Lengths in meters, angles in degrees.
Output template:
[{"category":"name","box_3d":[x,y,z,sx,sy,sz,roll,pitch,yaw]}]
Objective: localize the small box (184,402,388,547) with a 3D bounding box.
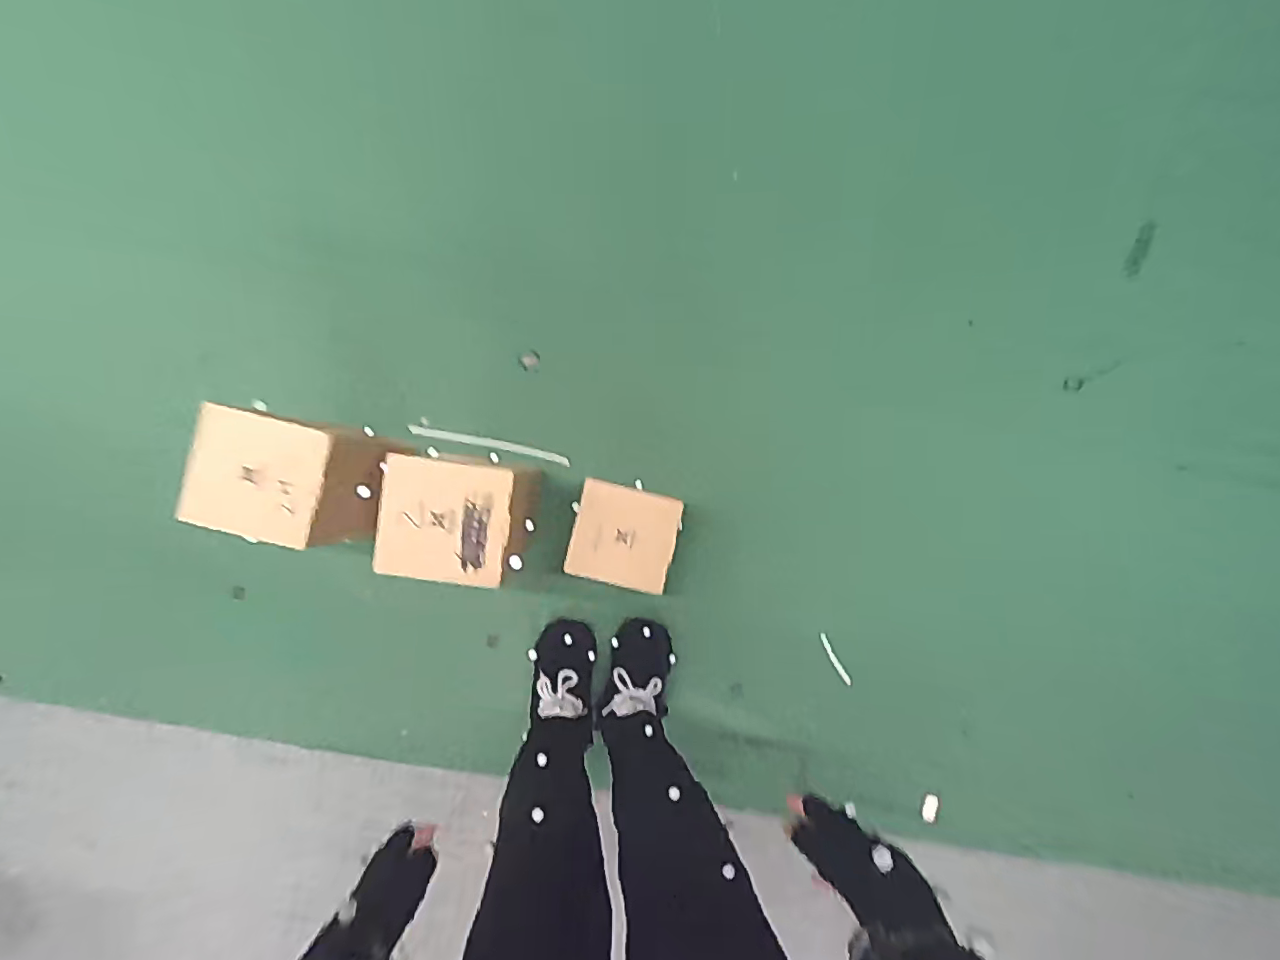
[{"category":"small box","box_3d":[-0.519,-0.007,0.818,0.179,0.176,0.168,15,90,-2]}]

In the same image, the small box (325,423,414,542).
[{"category":"small box","box_3d":[-0.536,-0.001,0.982,0.168,0.176,0.179,16,90,-2]}]

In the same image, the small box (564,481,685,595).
[{"category":"small box","box_3d":[-0.029,0.098,1.004,0.179,0.176,0.168,15,90,-2]}]
